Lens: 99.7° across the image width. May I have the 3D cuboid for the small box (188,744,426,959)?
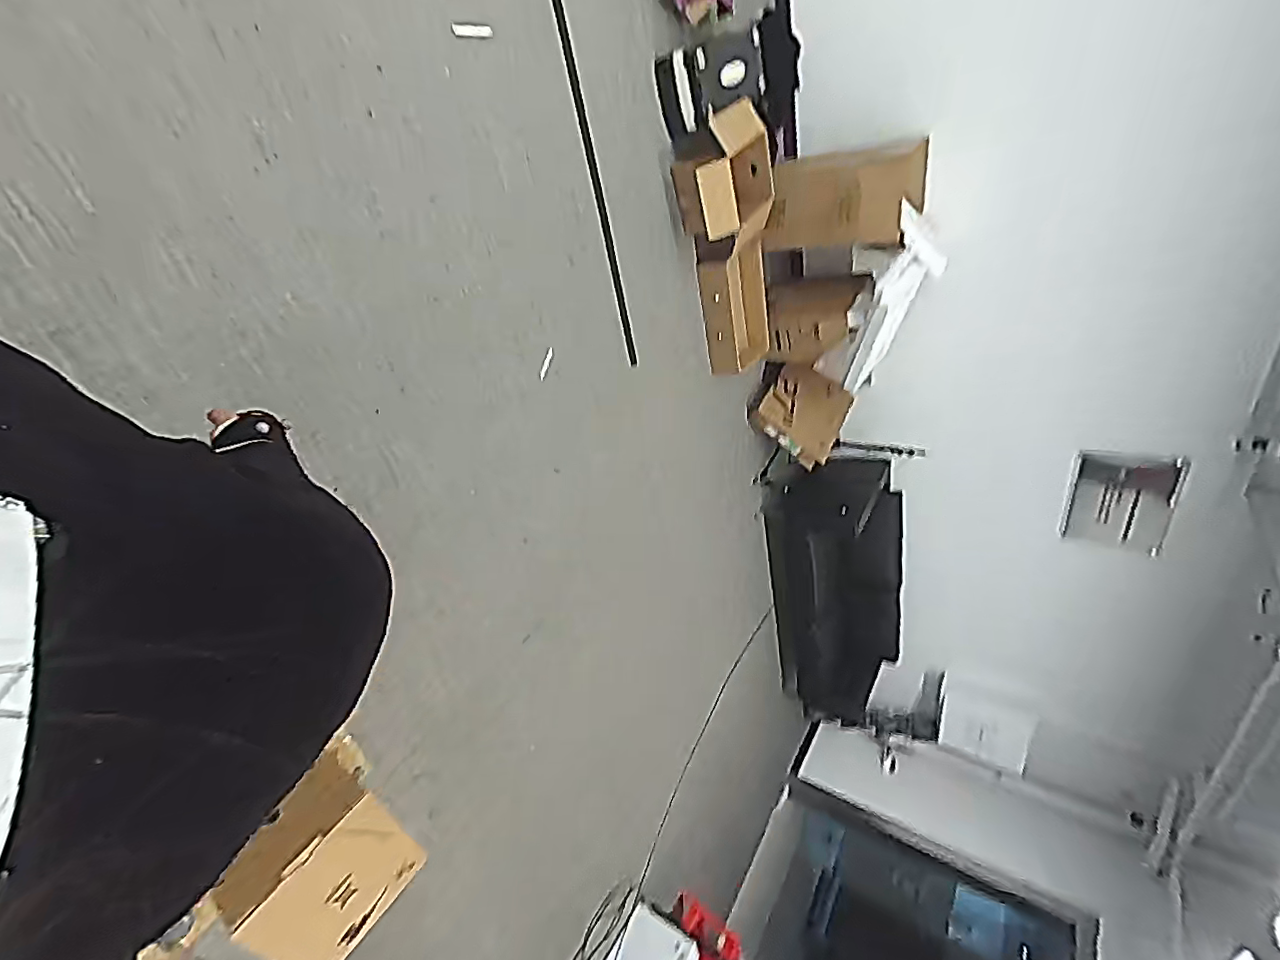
[{"bbox_3d":[-0.419,0.470,0.687,0.168,0.176,0.179,-44,131,-39],"label":"small box"}]
